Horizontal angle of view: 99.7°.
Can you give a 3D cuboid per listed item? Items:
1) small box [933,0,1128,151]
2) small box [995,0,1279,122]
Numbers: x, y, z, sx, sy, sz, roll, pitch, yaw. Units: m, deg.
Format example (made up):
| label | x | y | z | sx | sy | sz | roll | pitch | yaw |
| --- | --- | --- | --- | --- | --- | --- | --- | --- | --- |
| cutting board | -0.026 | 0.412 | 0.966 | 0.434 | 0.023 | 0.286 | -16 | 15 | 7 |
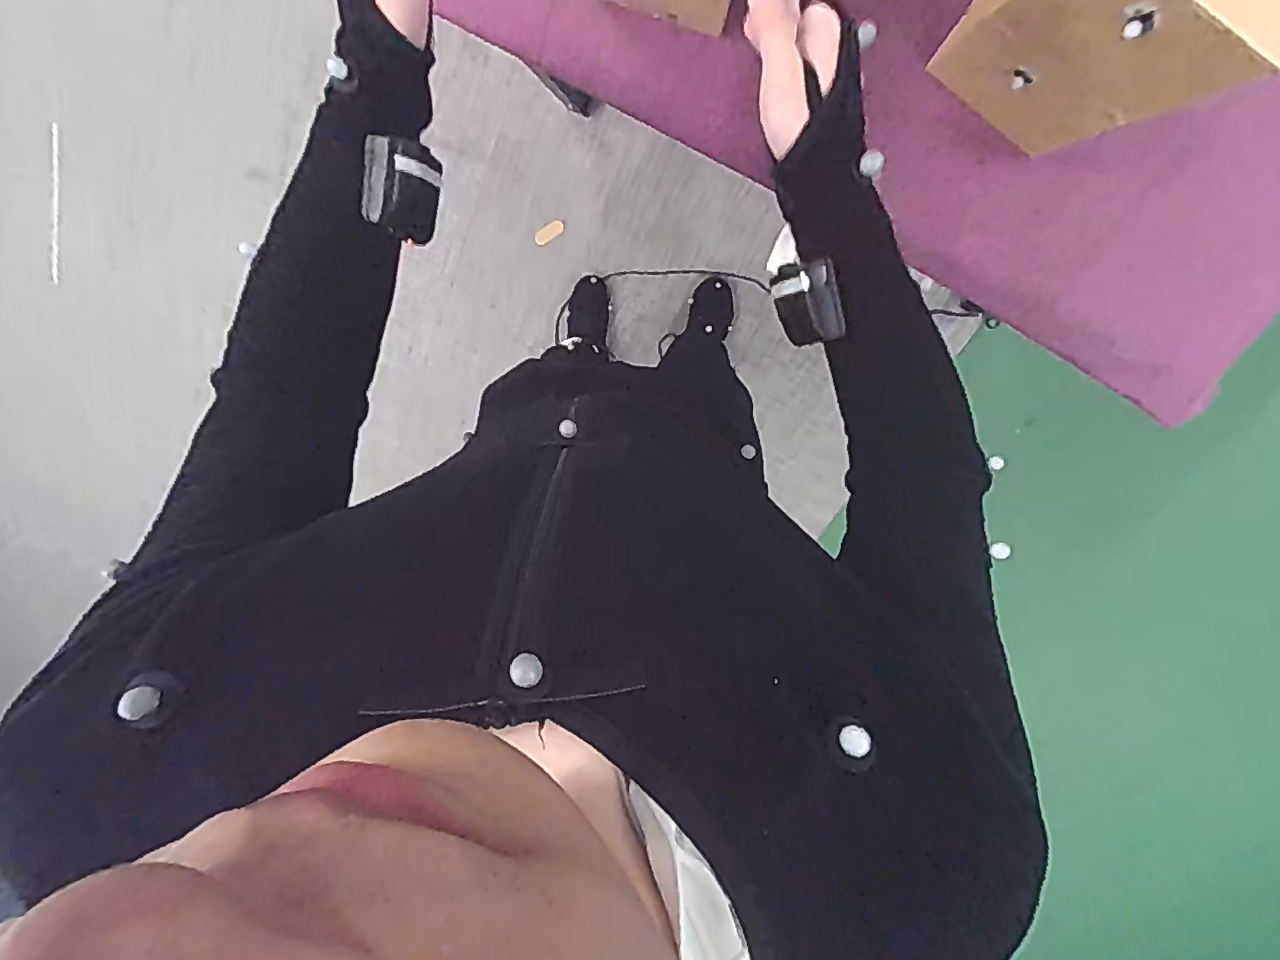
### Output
| label | x | y | z | sx | sy | sz | roll | pitch | yaw |
| --- | --- | --- | --- | --- | --- | --- | --- | --- | --- |
| small box | 0.455 | -0.482 | 0.570 | 0.179 | 0.176 | 0.168 | 33 | 113 | -7 |
| small box | 0.432 | -0.420 | 0.421 | 0.179 | 0.176 | 0.168 | 32 | 113 | -6 |
